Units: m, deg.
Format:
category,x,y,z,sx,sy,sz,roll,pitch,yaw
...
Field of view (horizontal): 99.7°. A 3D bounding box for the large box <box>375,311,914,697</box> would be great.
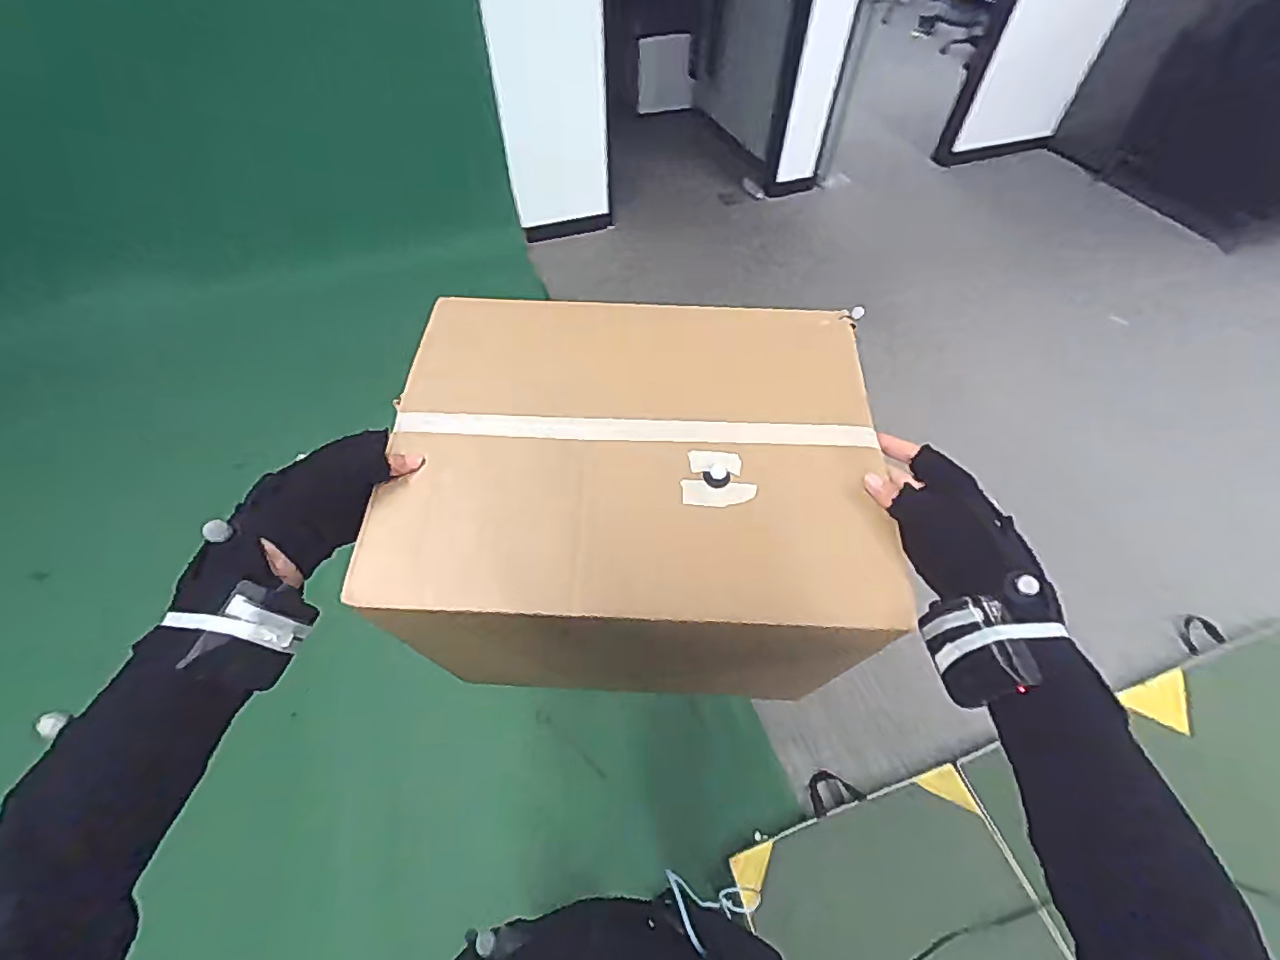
category,x,y,z,sx,sy,sz,roll,pitch,yaw
large box,0.004,0.044,0.595,0.408,0.320,0.320,3,59,0
